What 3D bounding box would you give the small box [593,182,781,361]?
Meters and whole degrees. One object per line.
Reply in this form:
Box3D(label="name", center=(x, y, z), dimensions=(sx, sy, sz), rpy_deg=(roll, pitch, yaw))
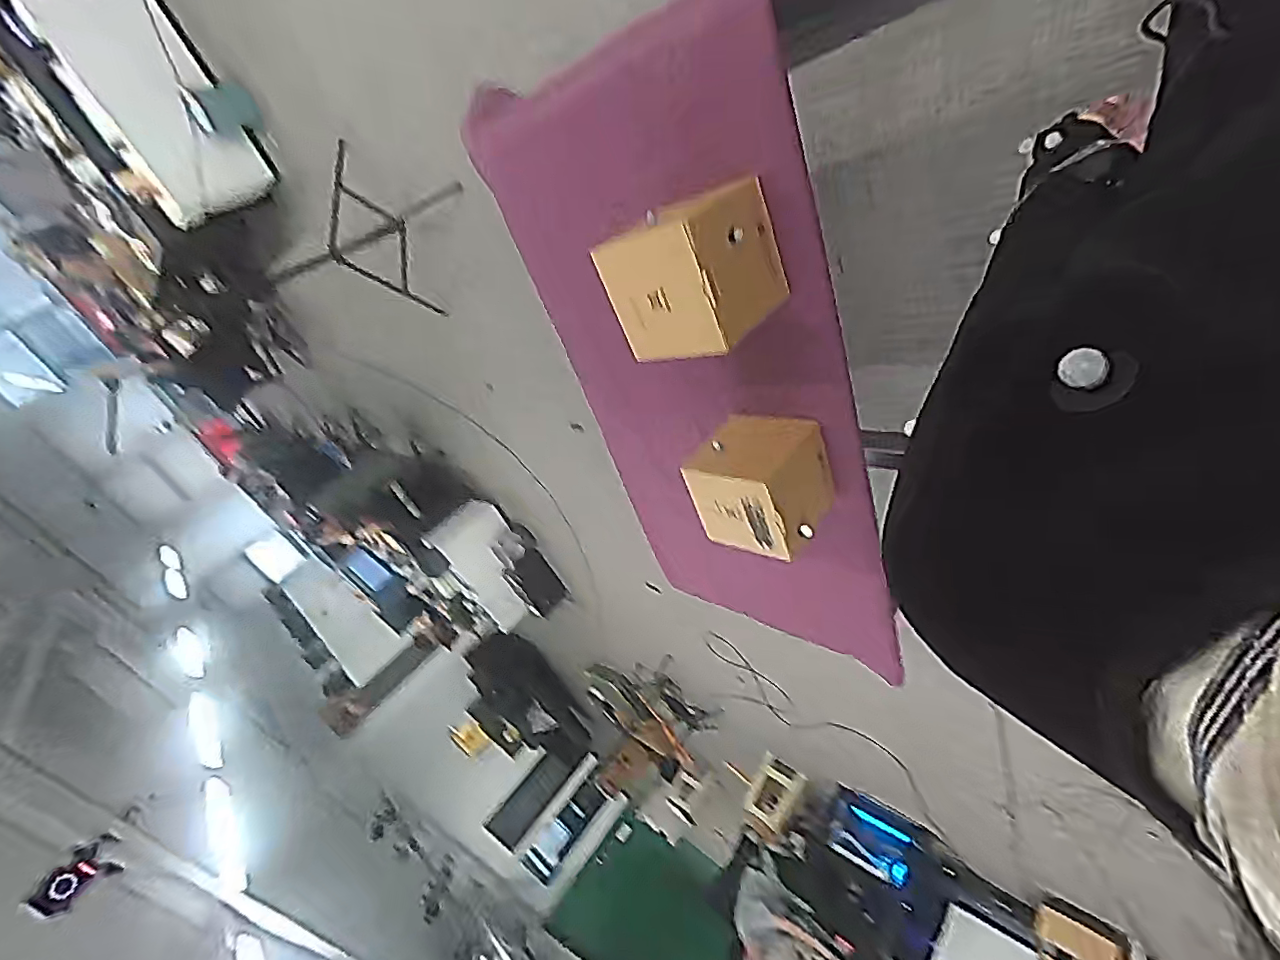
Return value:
Box3D(label="small box", center=(0.074, -0.282, 0.746), dimensions=(0.179, 0.176, 0.168), rpy_deg=(8, 134, 47))
